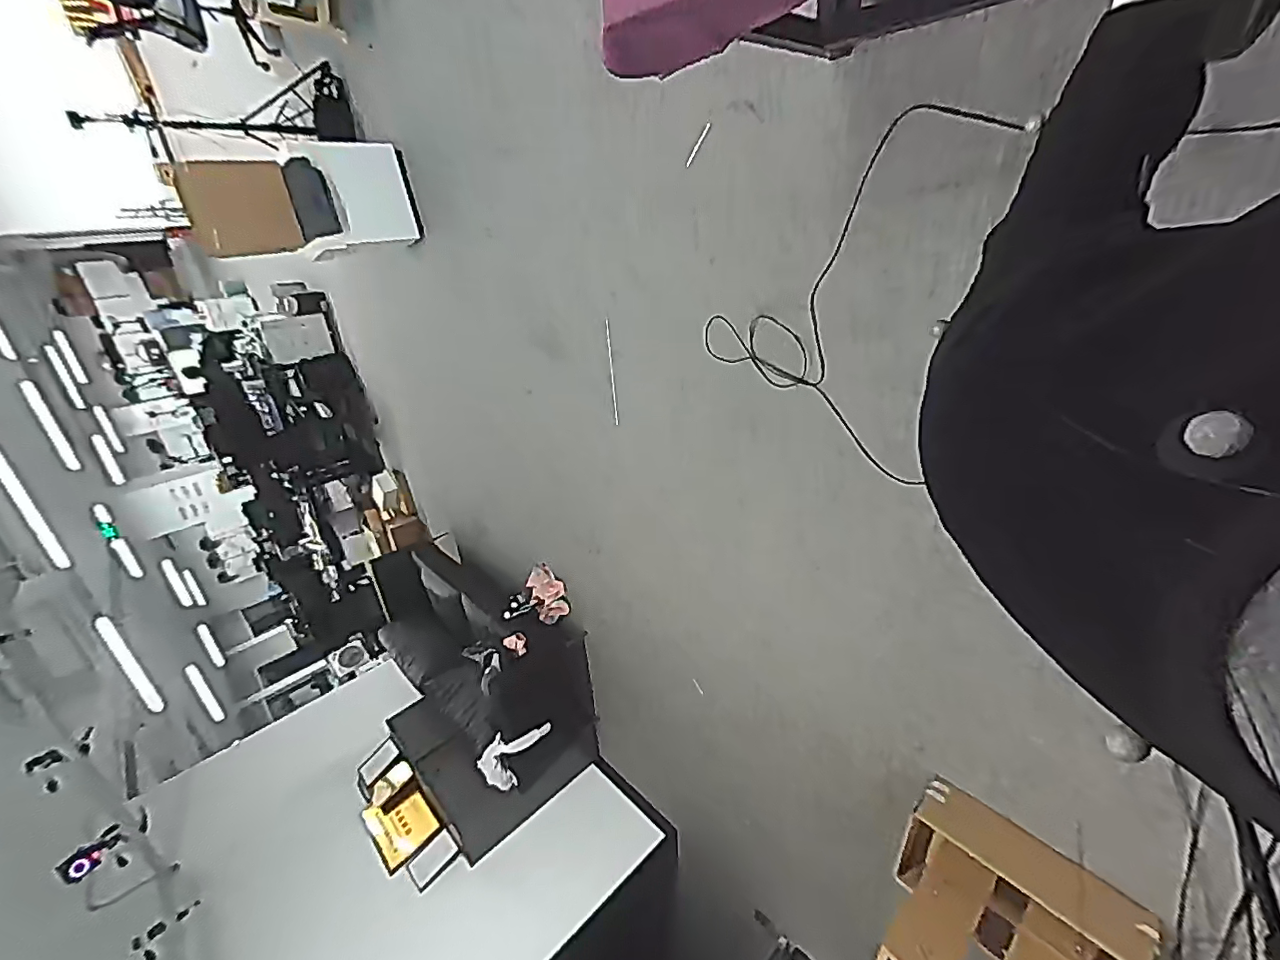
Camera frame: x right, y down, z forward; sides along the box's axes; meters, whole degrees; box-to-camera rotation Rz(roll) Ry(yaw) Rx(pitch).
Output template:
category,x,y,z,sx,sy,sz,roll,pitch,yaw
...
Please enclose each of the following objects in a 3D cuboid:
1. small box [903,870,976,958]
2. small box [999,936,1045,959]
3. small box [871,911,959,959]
category,x,y,z,sx,sy,sz,roll,pitch,yaw
small box,0.922,1.378,1.686,0.168,0.176,0.179,25,127,41
small box,1.095,1.452,1.515,0.179,0.176,0.168,23,126,44
small box,0.799,1.425,1.588,0.179,0.176,0.168,24,126,40
